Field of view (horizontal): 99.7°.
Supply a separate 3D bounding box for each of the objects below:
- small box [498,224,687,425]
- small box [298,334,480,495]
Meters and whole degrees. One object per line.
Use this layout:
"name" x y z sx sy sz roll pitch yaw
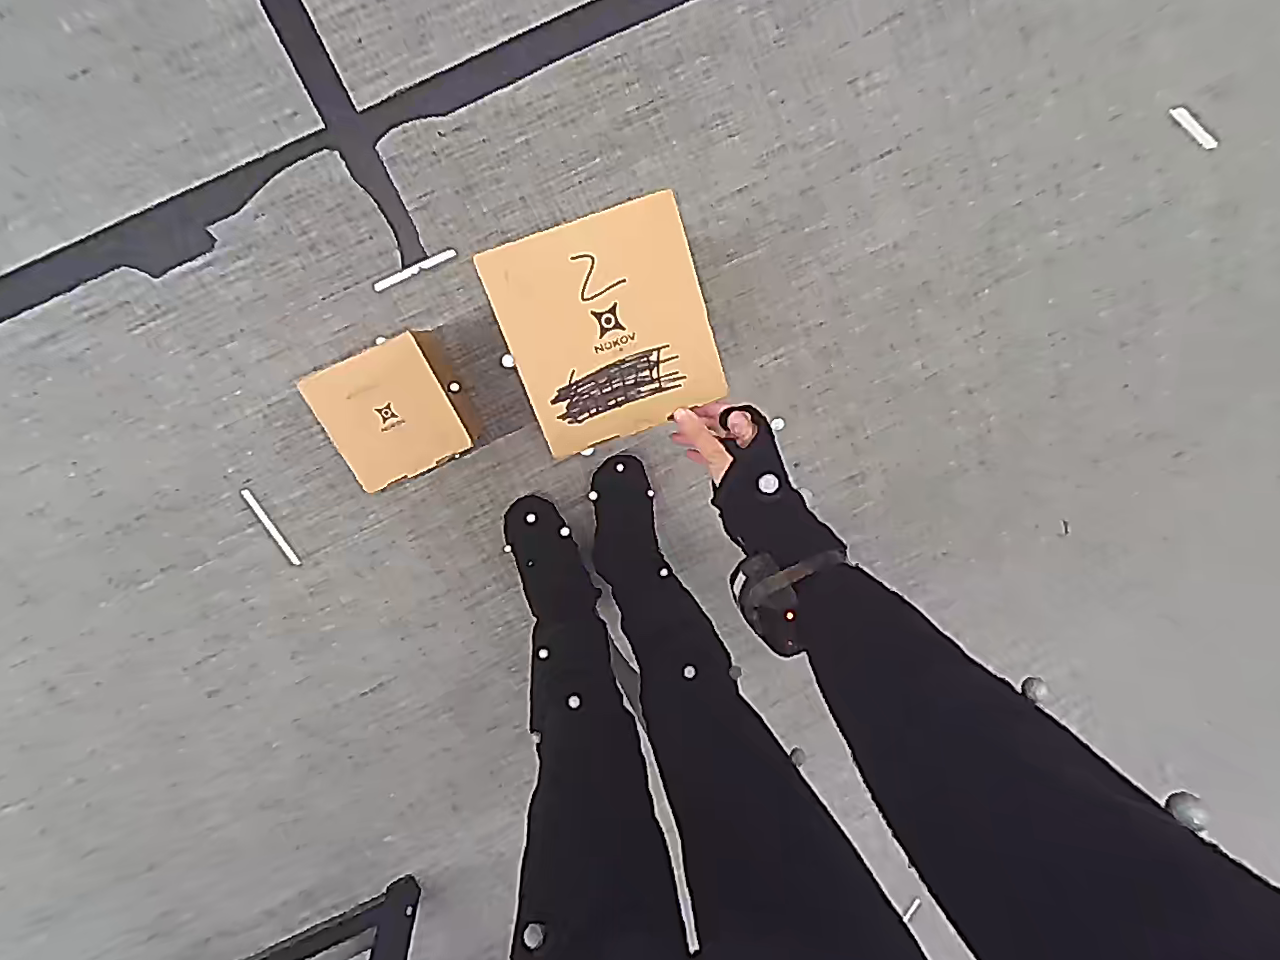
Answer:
"small box" -0.060 -0.190 0.667 0.168 0.176 0.179 -22 109 -4
"small box" -0.354 -0.107 0.808 0.168 0.176 0.179 -26 109 -4
